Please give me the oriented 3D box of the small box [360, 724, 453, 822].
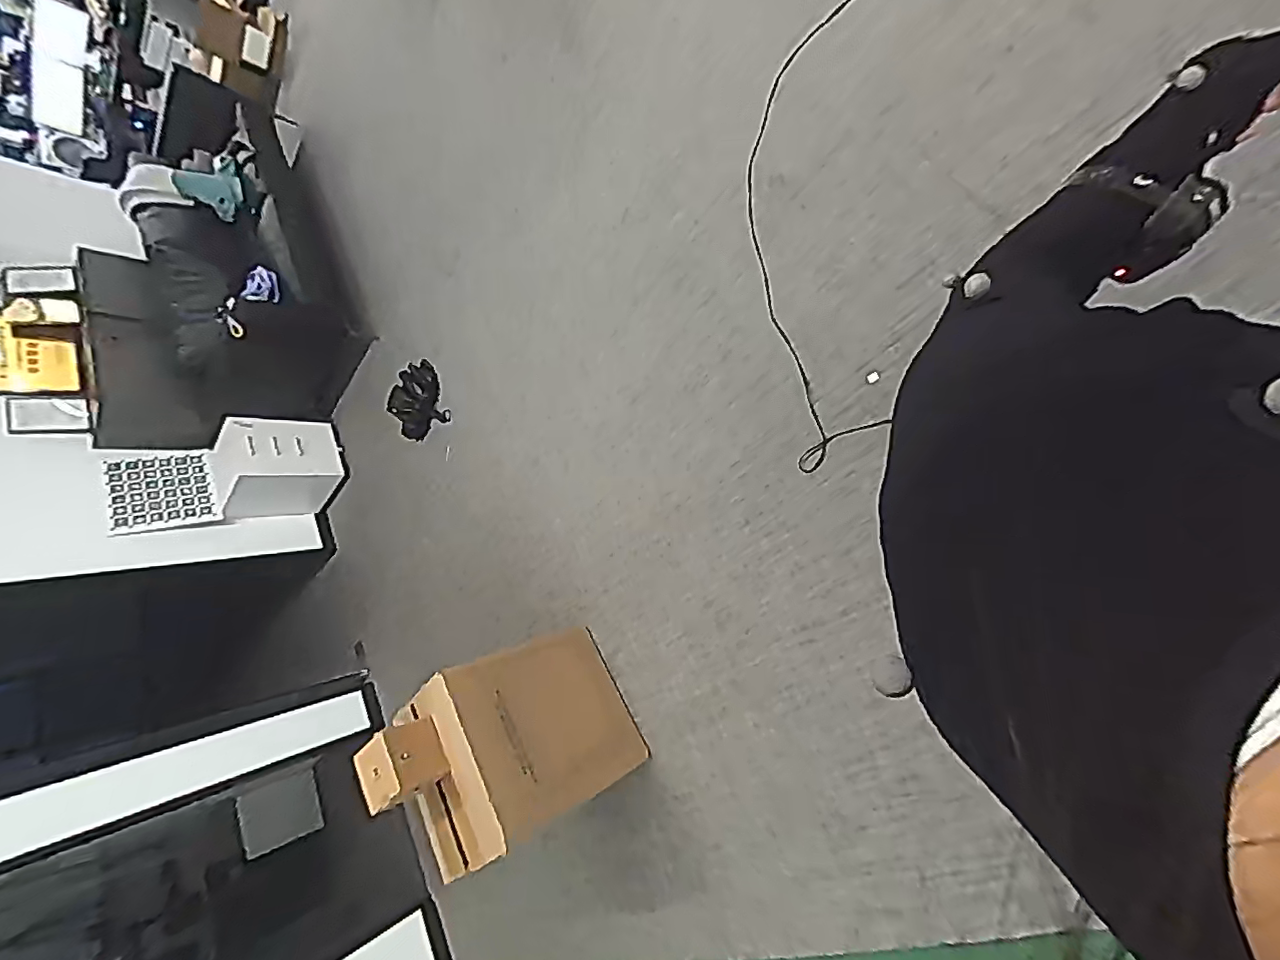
[{"bbox_3d":[-0.681,0.853,1.588,0.168,0.176,0.179,-45,62,20],"label":"small box"}]
